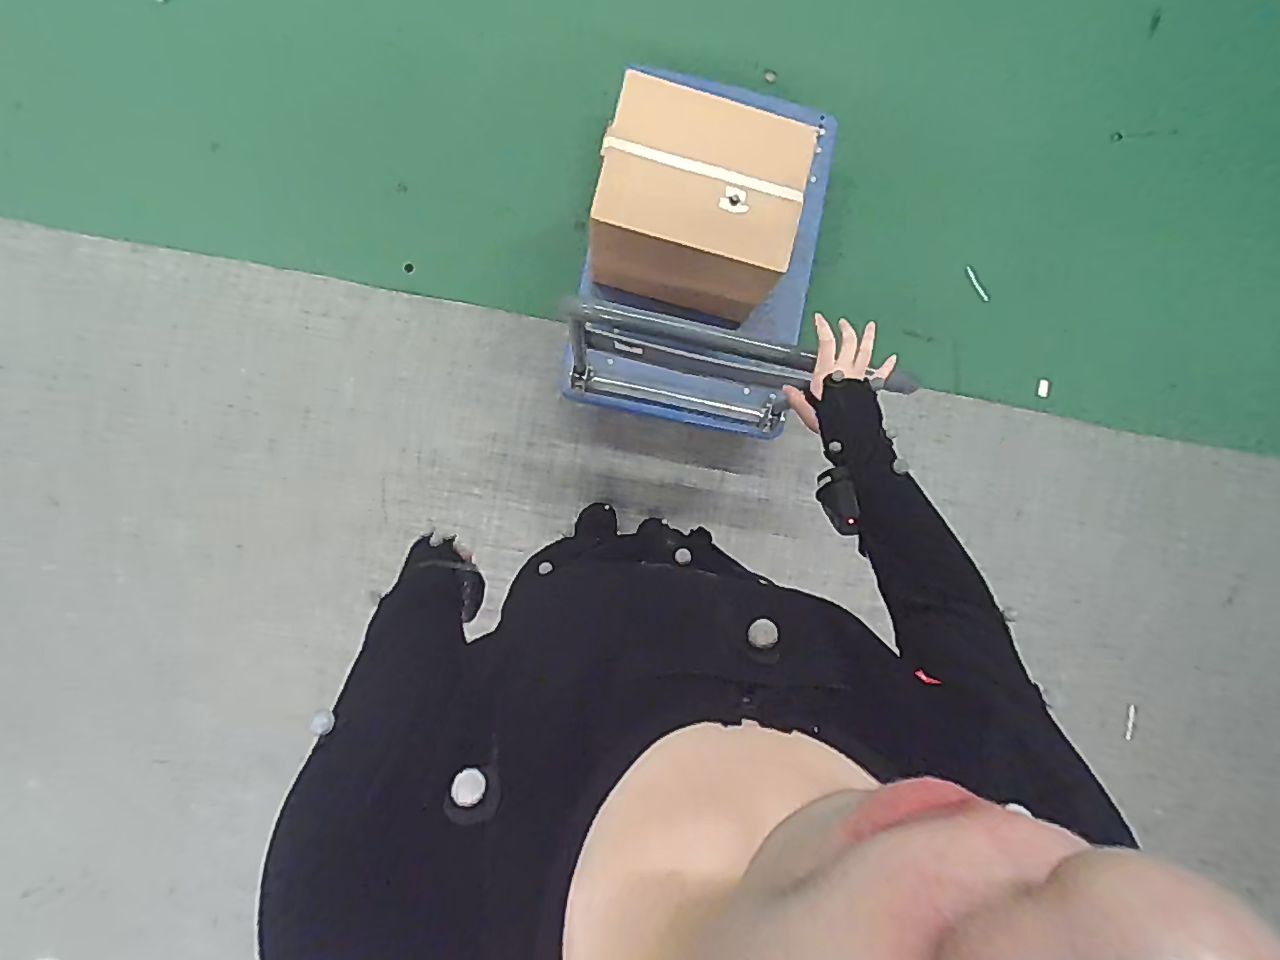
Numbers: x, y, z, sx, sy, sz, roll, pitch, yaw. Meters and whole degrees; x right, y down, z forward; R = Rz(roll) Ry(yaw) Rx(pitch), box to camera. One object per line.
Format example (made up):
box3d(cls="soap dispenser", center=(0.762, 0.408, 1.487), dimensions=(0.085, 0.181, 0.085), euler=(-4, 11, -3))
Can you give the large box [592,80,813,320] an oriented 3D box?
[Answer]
box3d(cls="large box", center=(0.117, -0.607, 1.237), dimensions=(0.408, 0.320, 0.320), euler=(14, 87, -5))
